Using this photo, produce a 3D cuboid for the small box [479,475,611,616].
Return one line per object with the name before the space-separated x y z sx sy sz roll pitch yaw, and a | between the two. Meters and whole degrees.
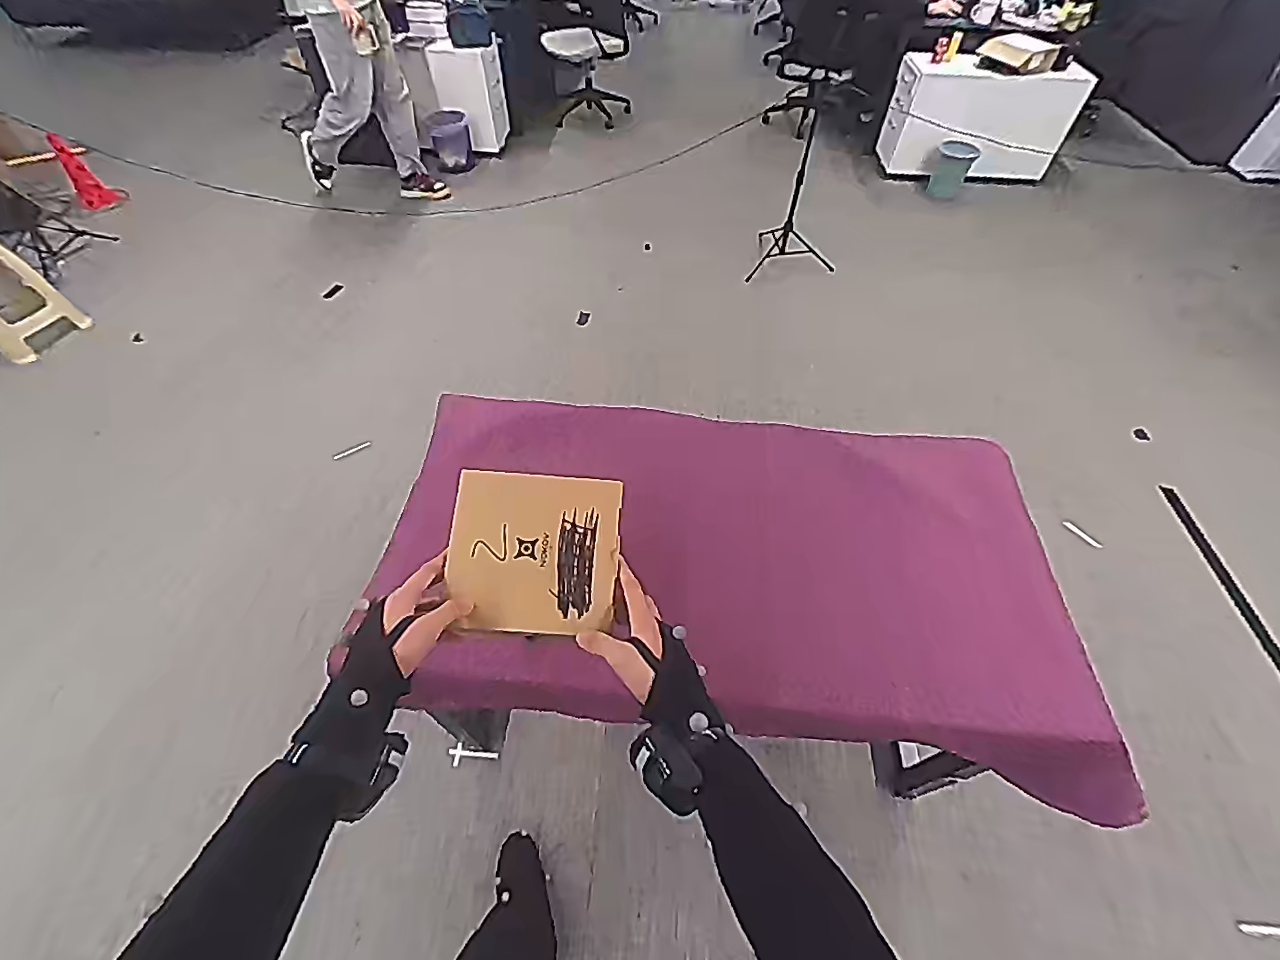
small box | -0.146 0.114 0.907 0.179 0.176 0.168 6 52 3
